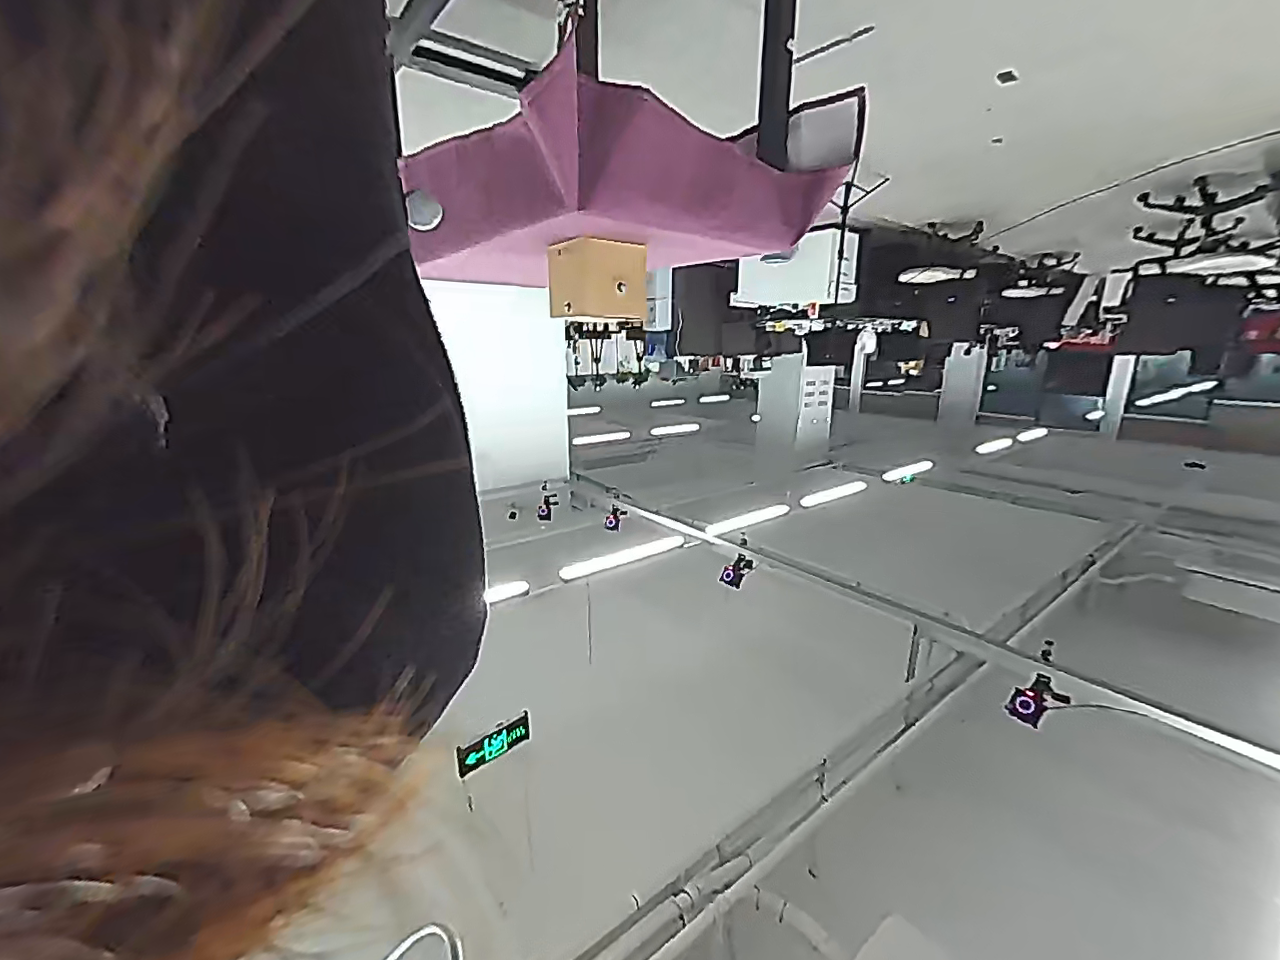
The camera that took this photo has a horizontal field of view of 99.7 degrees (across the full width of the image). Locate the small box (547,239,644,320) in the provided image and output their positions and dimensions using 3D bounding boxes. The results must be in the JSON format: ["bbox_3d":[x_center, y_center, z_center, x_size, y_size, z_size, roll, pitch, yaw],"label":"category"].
[{"bbox_3d":[-0.107,-0.471,1.290,0.179,0.176,0.168,-11,-162,-36],"label":"small box"}]
